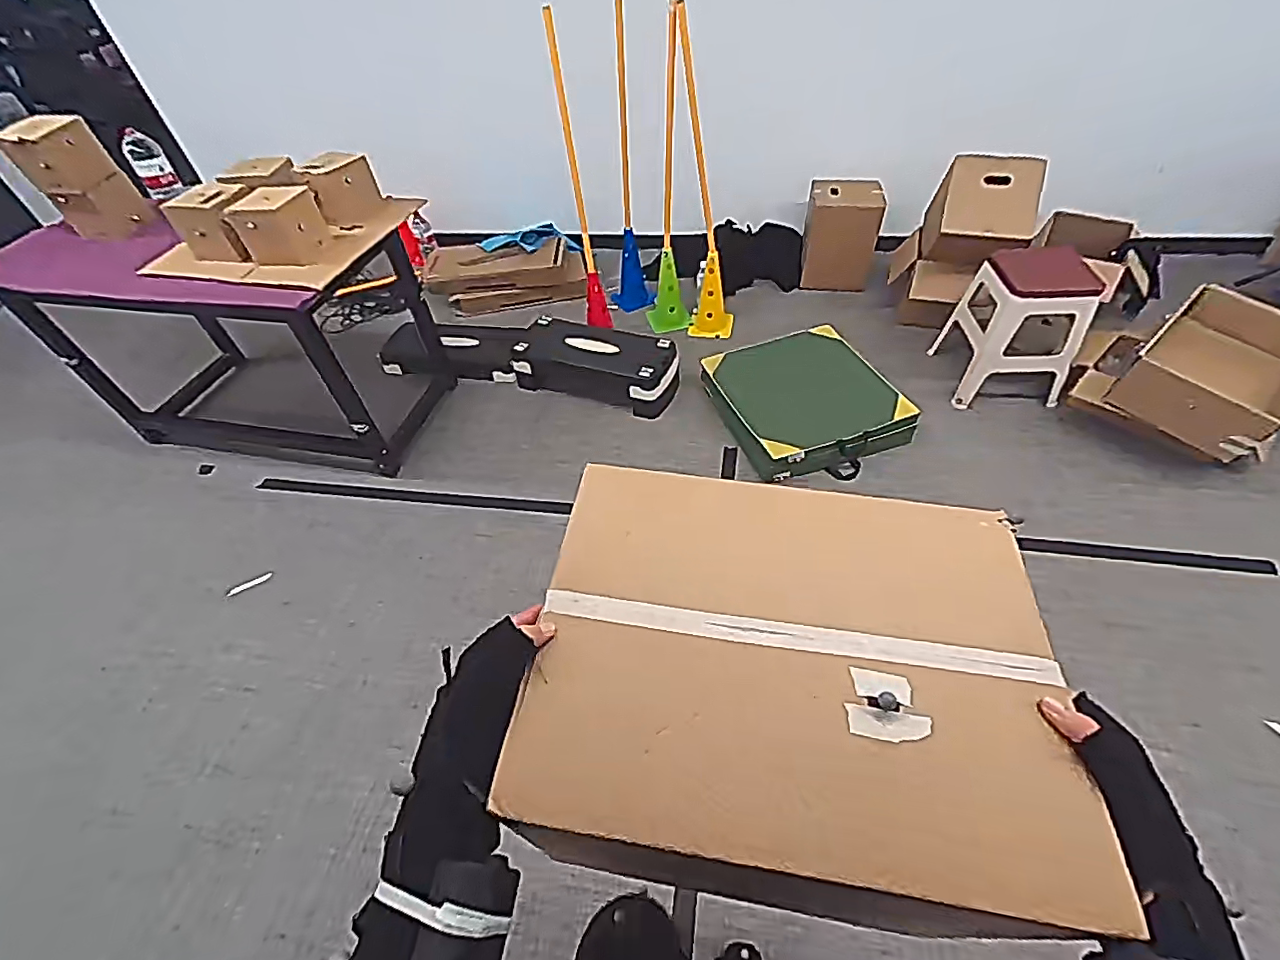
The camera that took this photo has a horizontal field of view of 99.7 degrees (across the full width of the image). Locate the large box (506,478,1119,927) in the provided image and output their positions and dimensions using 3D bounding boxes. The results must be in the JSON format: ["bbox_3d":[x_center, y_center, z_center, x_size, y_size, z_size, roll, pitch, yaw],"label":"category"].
[{"bbox_3d":[0.122,0.229,0.558,0.408,0.320,0.320,7,52,6],"label":"large box"}]
